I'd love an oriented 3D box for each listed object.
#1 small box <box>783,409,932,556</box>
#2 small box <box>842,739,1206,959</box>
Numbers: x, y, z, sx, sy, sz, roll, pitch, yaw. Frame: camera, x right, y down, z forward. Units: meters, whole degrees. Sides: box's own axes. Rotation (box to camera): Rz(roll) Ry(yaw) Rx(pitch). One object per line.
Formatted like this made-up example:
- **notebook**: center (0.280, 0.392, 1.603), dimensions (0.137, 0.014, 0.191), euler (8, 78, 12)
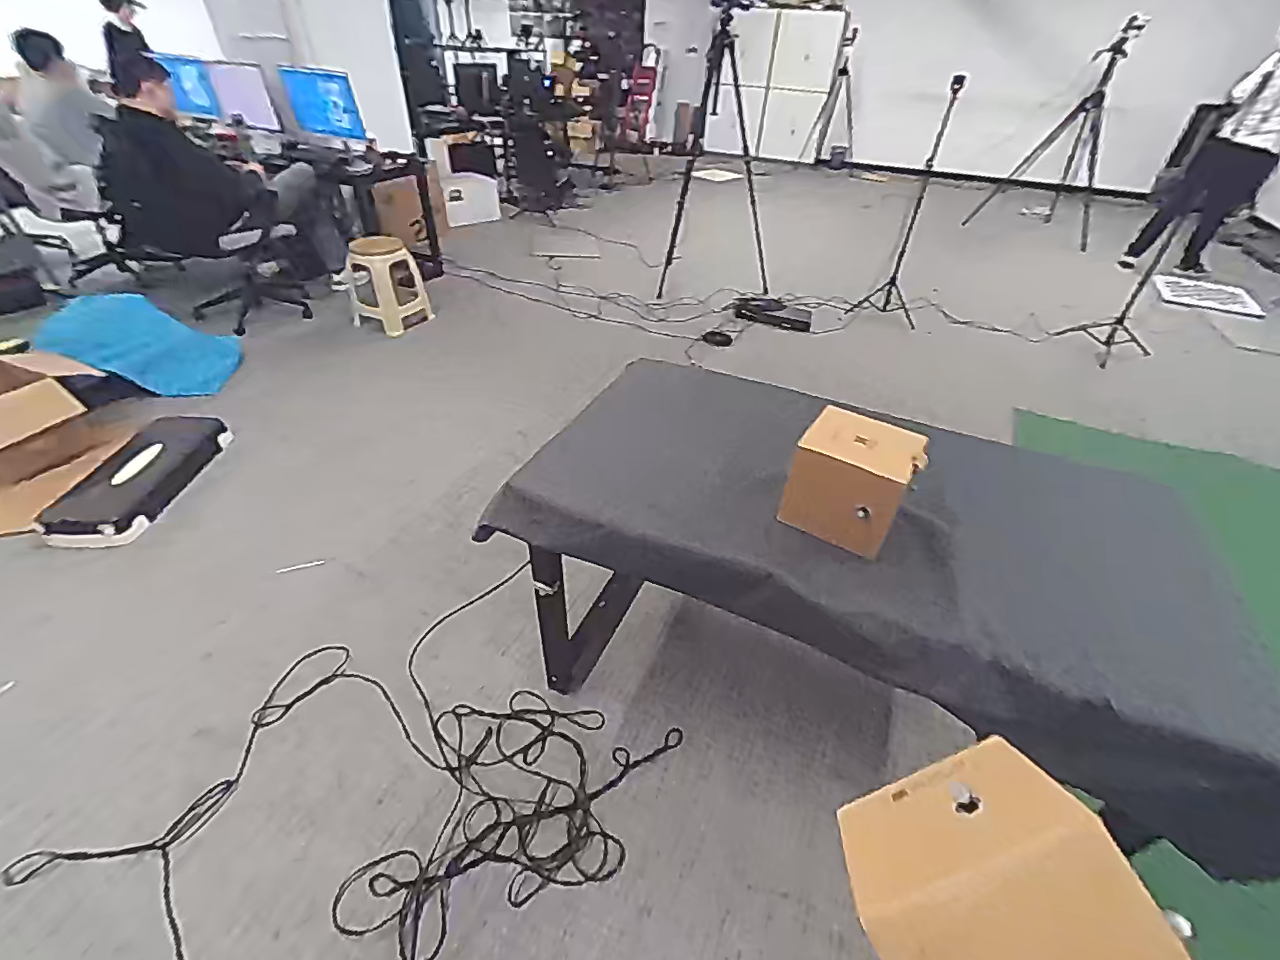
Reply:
- **small box**: center (0.371, 0.006, 0.937), dimensions (0.179, 0.176, 0.168), euler (23, 42, 25)
- **small box**: center (0.275, 0.322, 0.407), dimensions (0.168, 0.176, 0.179), euler (-31, 76, 8)
